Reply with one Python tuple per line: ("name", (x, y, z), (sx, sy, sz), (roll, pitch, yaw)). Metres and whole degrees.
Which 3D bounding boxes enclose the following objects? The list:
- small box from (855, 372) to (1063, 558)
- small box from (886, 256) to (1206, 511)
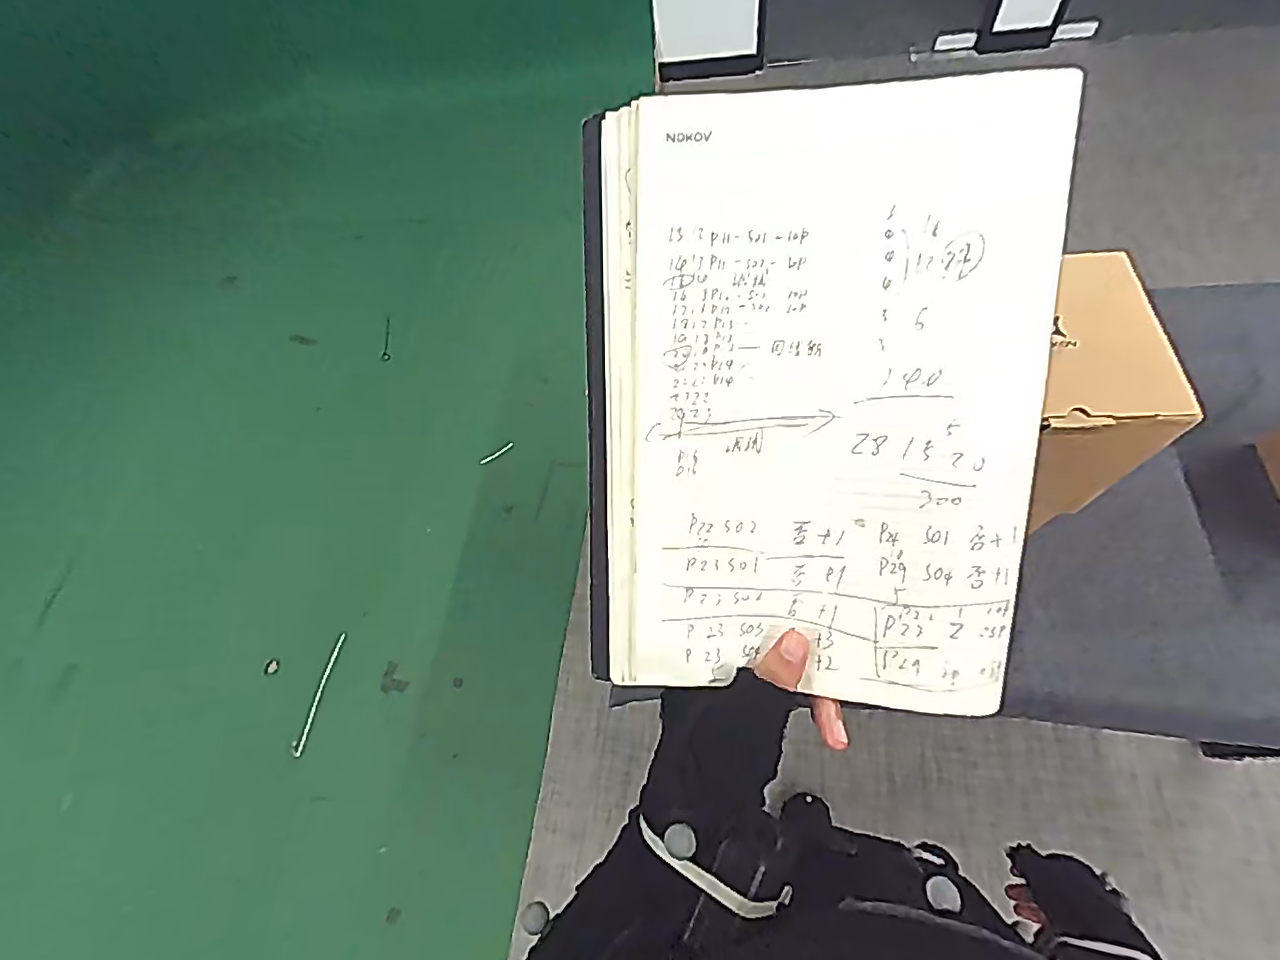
("small box", (0.374, -0.016, 0.664), (0.168, 0.176, 0.179), (-2, 62, 8))
("small box", (0.352, -0.084, 0.518), (0.168, 0.176, 0.179), (-1, 62, 8))
